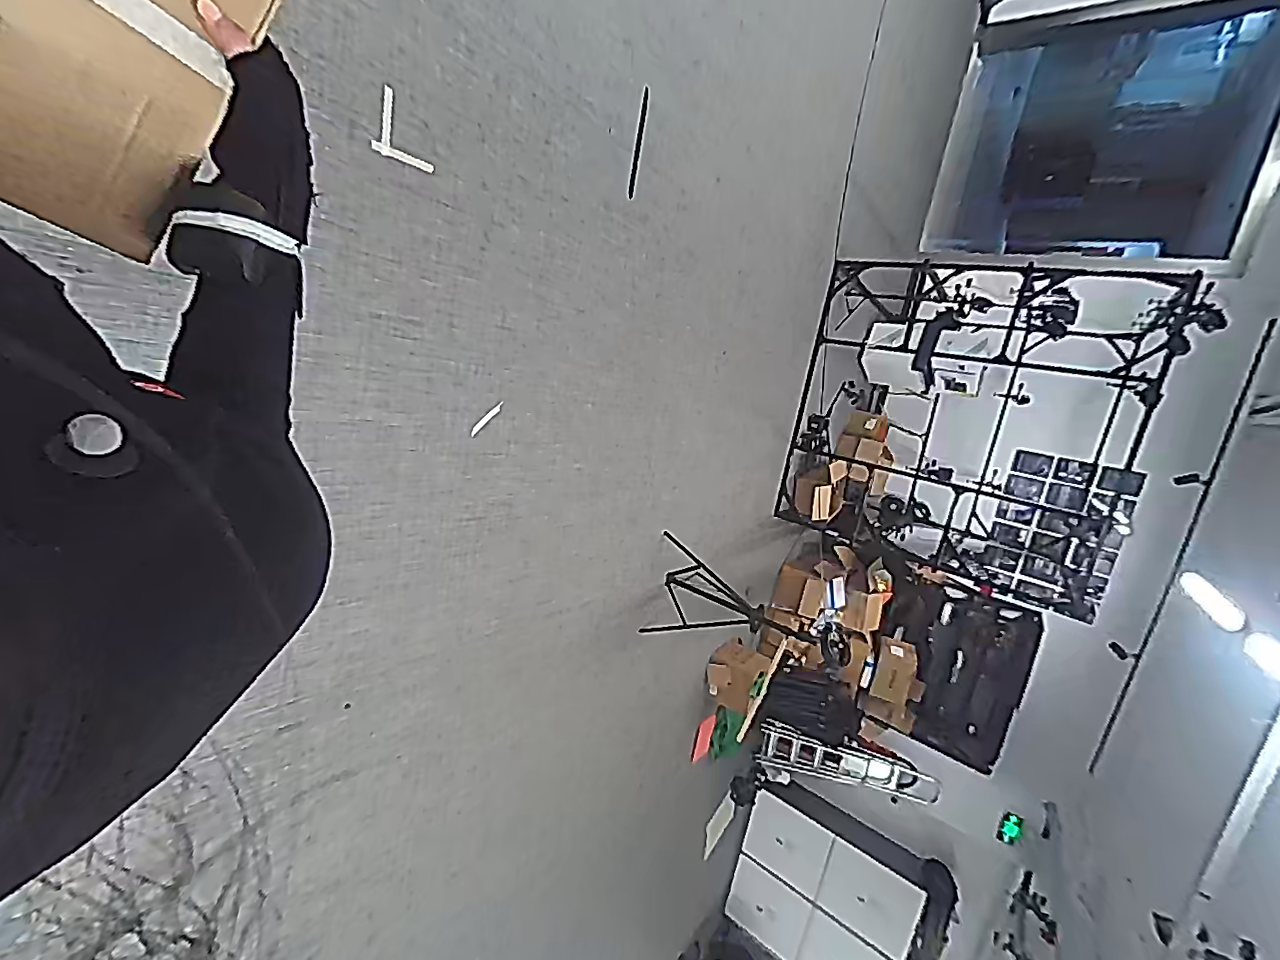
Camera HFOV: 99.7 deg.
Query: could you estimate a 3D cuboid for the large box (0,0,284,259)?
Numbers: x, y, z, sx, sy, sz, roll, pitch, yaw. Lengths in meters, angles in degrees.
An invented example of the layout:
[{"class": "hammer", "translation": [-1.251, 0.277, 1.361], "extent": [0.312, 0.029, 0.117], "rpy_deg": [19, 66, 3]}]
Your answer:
[{"class": "large box", "translation": [-0.510, -0.424, 0.351], "extent": [0.408, 0.320, 0.320], "rpy_deg": [23, 106, -51]}]
